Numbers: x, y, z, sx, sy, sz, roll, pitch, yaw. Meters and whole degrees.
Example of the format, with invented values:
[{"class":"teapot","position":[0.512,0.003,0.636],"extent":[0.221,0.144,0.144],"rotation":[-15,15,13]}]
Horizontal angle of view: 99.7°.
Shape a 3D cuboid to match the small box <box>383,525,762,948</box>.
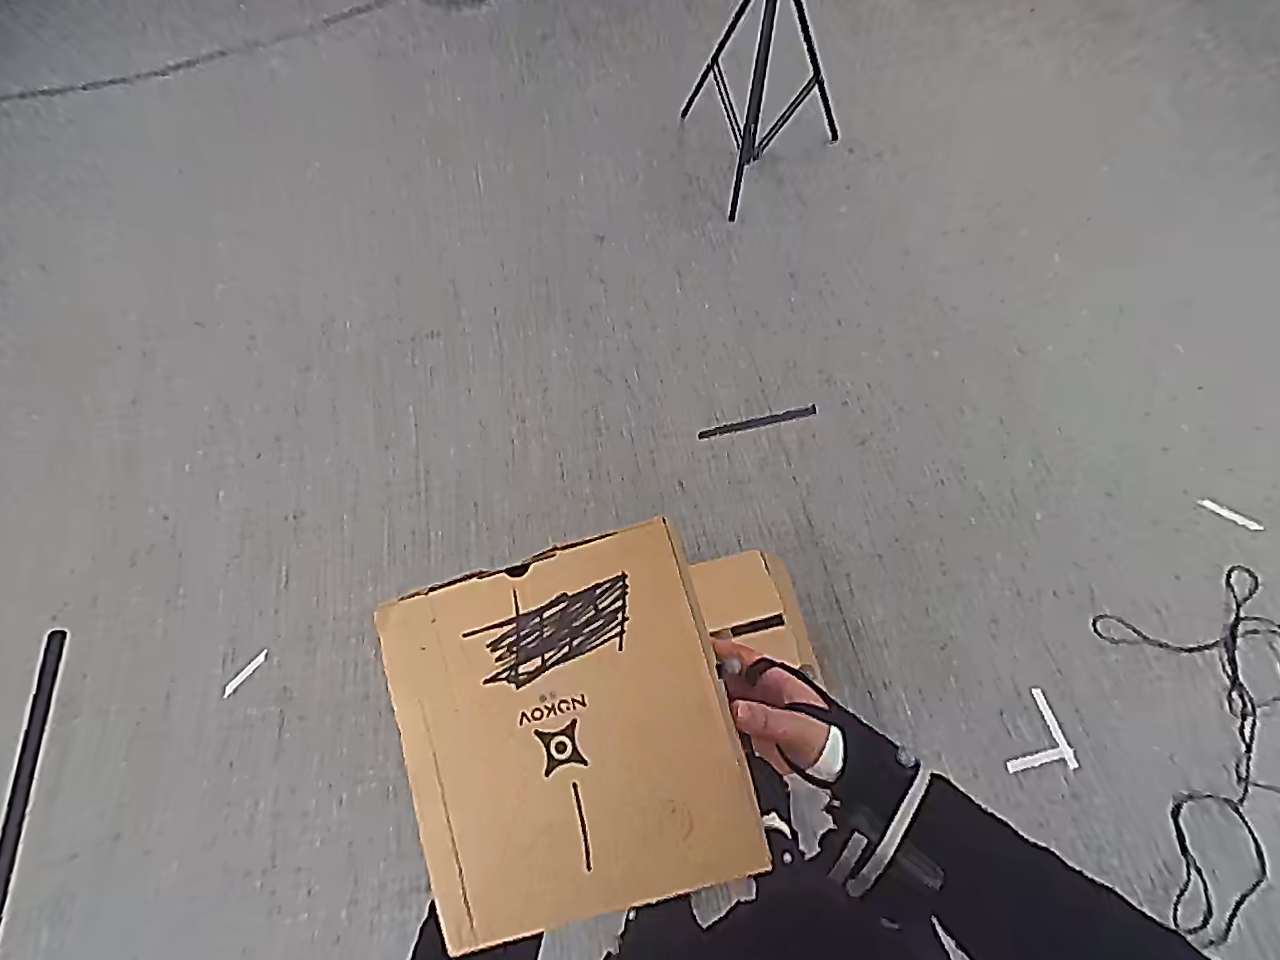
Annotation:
[{"class":"small box","position":[-0.034,0.140,0.358],"extent":[0.168,0.176,0.179],"rotation":[-17,81,3]}]
